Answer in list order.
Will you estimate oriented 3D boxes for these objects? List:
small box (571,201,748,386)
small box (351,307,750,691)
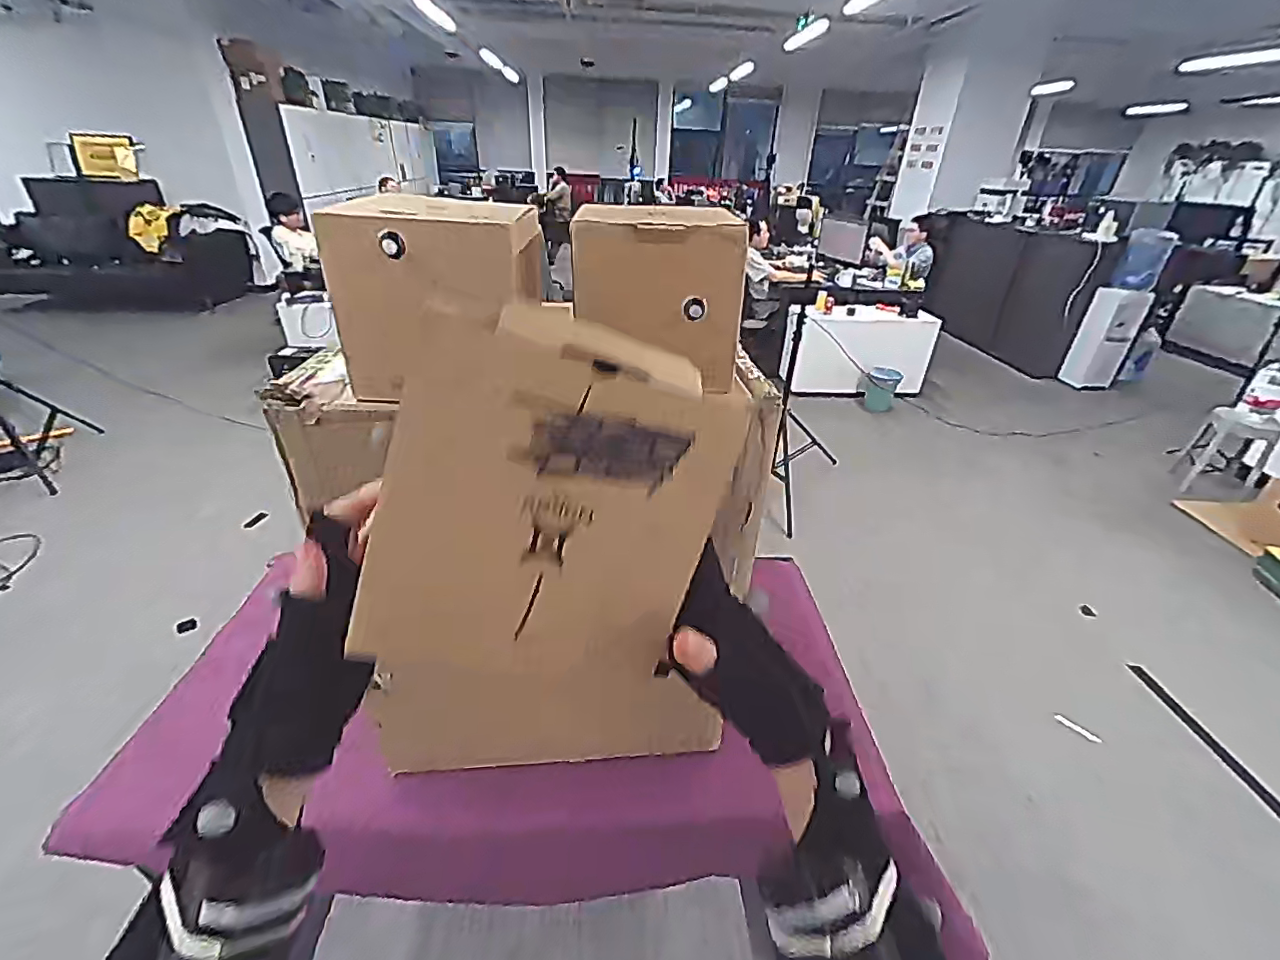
[{"bbox_3d":[0.017,-0.210,0.601,0.168,0.176,0.179,1,30,-2],"label":"small box"},{"bbox_3d":[-0.062,0.002,0.344,0.168,0.179,0.176,14,13,-19],"label":"small box"}]
